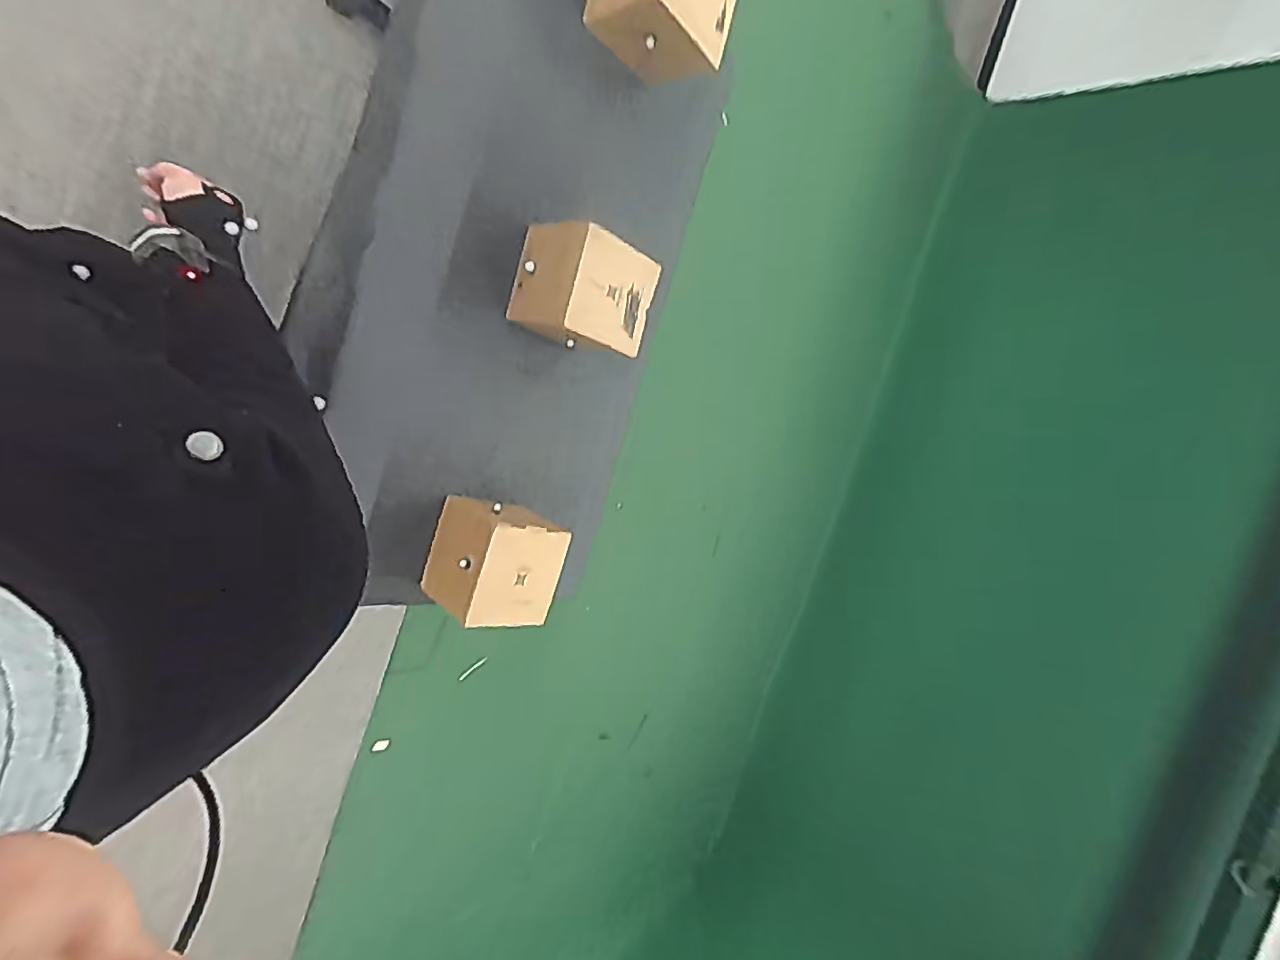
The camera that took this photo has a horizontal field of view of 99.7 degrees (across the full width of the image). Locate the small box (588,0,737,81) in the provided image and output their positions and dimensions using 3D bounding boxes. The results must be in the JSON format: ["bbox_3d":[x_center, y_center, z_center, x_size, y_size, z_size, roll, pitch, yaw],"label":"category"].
[{"bbox_3d":[0.041,-0.803,0.893,0.179,0.176,0.168,8,101,-48],"label":"small box"}]

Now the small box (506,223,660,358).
[{"bbox_3d":[-0.100,-0.326,0.939,0.179,0.176,0.168,11,98,-48],"label":"small box"}]

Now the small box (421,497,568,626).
[{"bbox_3d":[-0.261,0.140,0.958,0.168,0.176,0.179,15,95,-48],"label":"small box"}]
